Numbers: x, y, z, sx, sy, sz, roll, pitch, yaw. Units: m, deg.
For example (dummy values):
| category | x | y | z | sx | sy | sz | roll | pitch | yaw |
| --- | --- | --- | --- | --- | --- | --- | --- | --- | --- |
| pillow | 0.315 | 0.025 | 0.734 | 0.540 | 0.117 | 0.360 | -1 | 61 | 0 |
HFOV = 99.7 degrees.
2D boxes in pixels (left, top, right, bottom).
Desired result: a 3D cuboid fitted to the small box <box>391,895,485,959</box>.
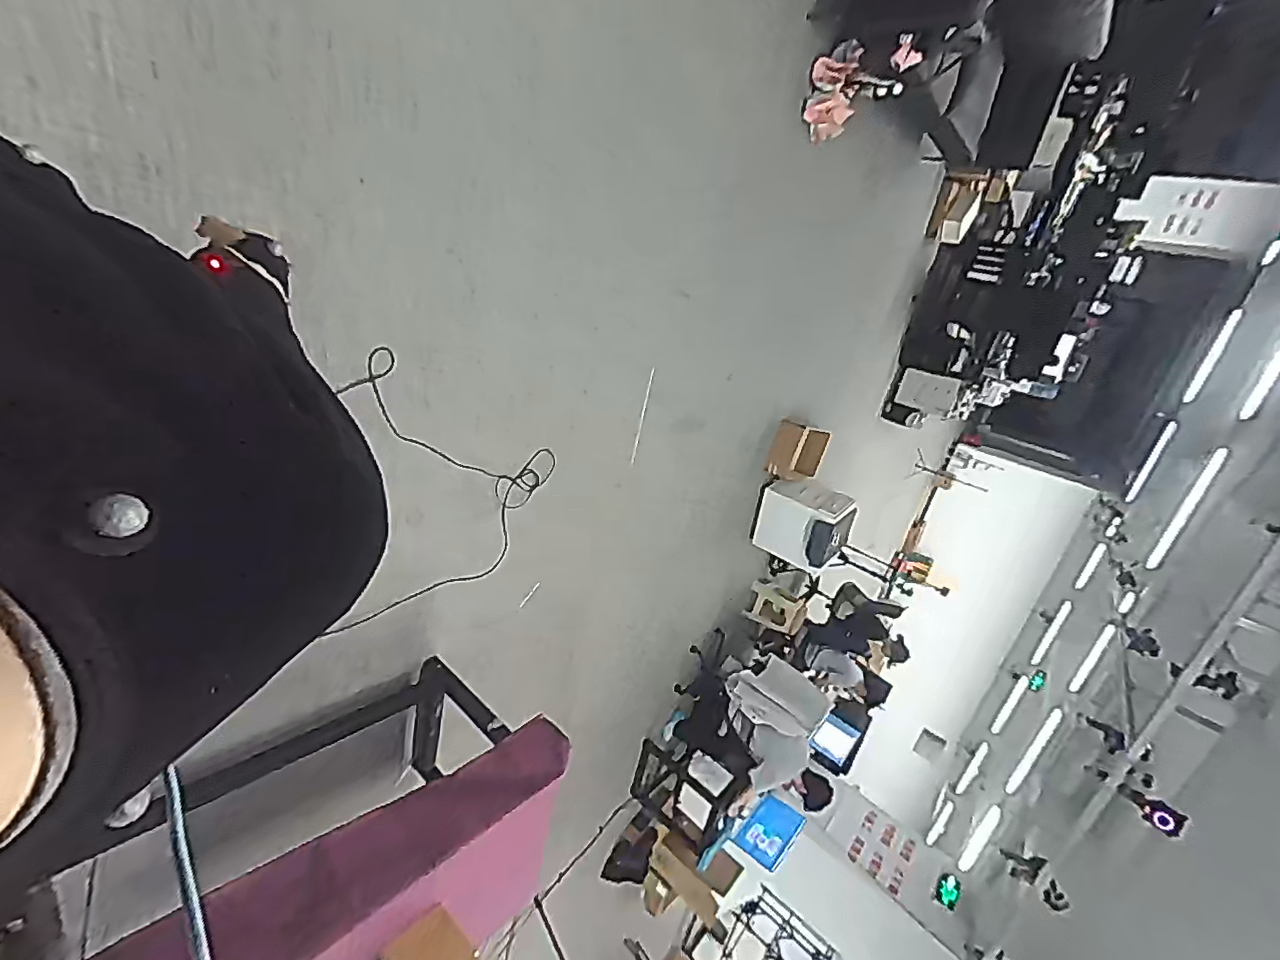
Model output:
| category | x | y | z | sx | sy | sz | roll | pitch | yaw |
| --- | --- | --- | --- | --- | --- | --- | --- | --- | --- |
| small box | -0.540 | 1.272 | 1.440 | 0.179 | 0.176 | 0.168 | -16 | 126 | -47 |
